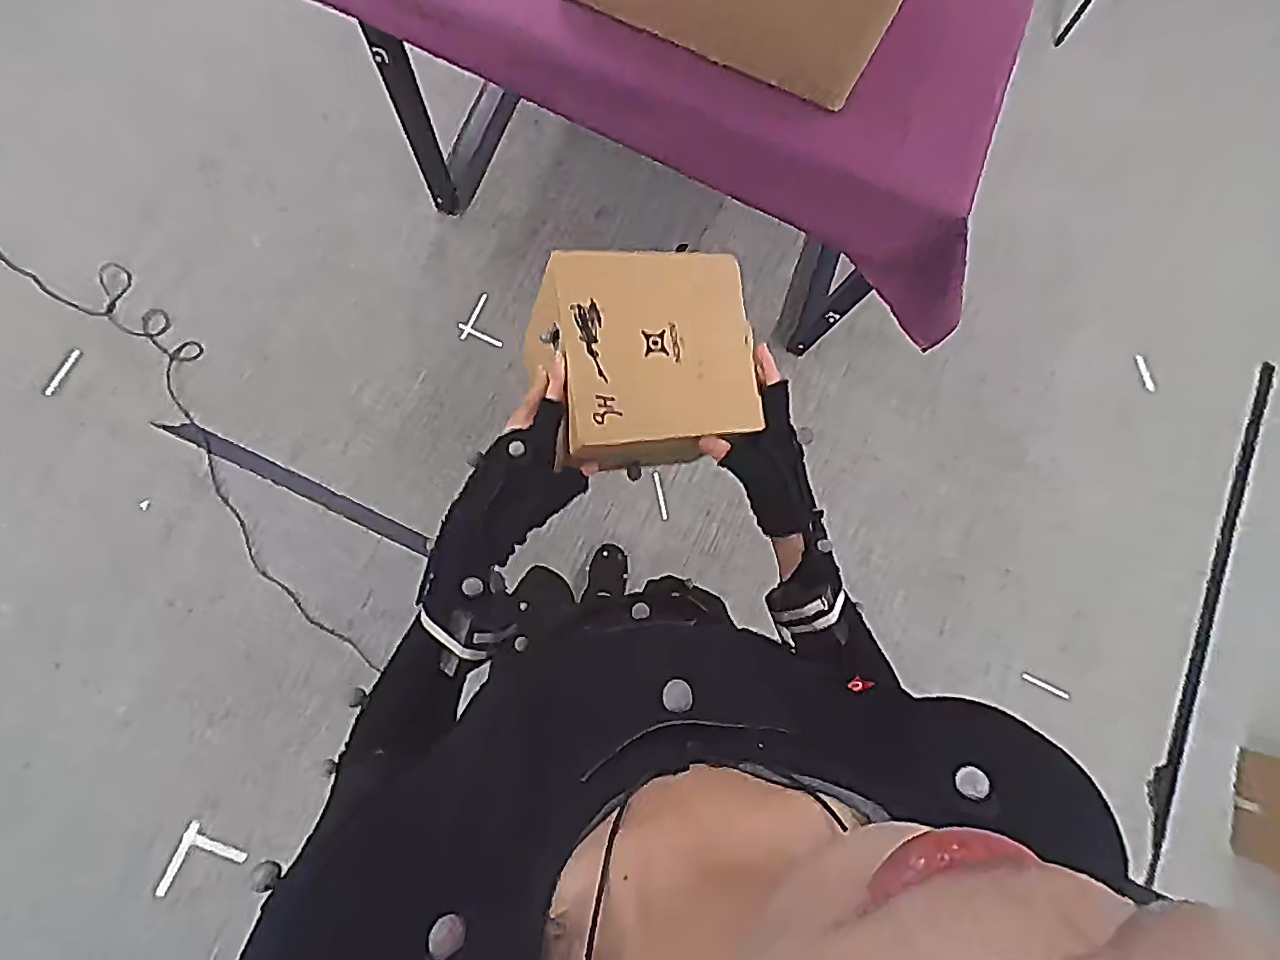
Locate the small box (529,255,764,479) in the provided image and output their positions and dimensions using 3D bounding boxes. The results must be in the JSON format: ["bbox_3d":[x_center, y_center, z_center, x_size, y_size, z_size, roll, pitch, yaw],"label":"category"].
[{"bbox_3d":[-0.005,-0.100,0.542,0.179,0.176,0.168,-6,81,-20],"label":"small box"}]
